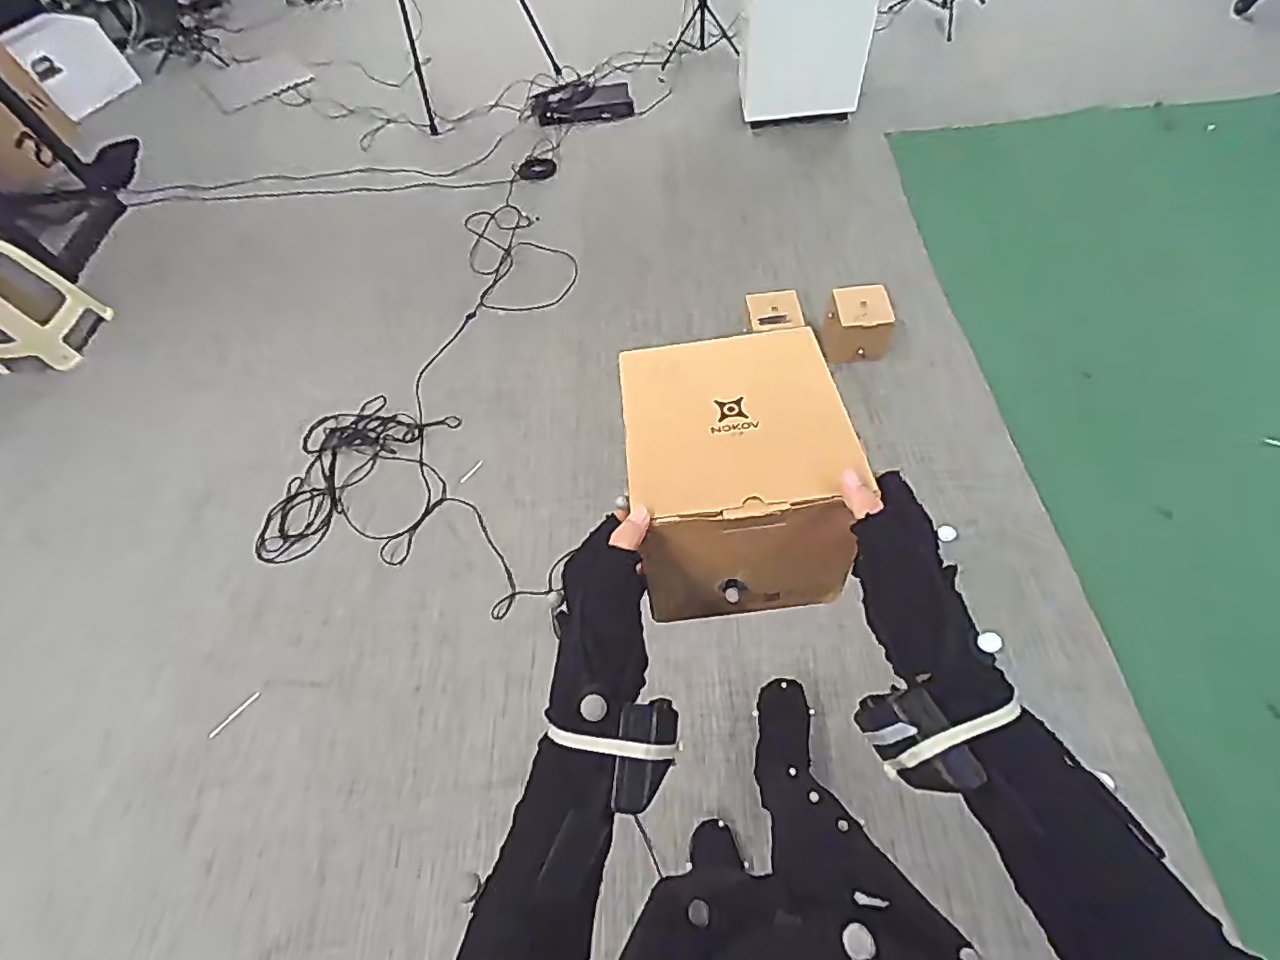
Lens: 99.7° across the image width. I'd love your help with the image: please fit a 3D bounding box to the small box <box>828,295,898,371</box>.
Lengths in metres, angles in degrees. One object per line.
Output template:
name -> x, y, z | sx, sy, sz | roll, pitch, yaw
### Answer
small box -> 0.736, -0.489, 1.806 | 0.168, 0.176, 0.179 | -3, 59, 6
